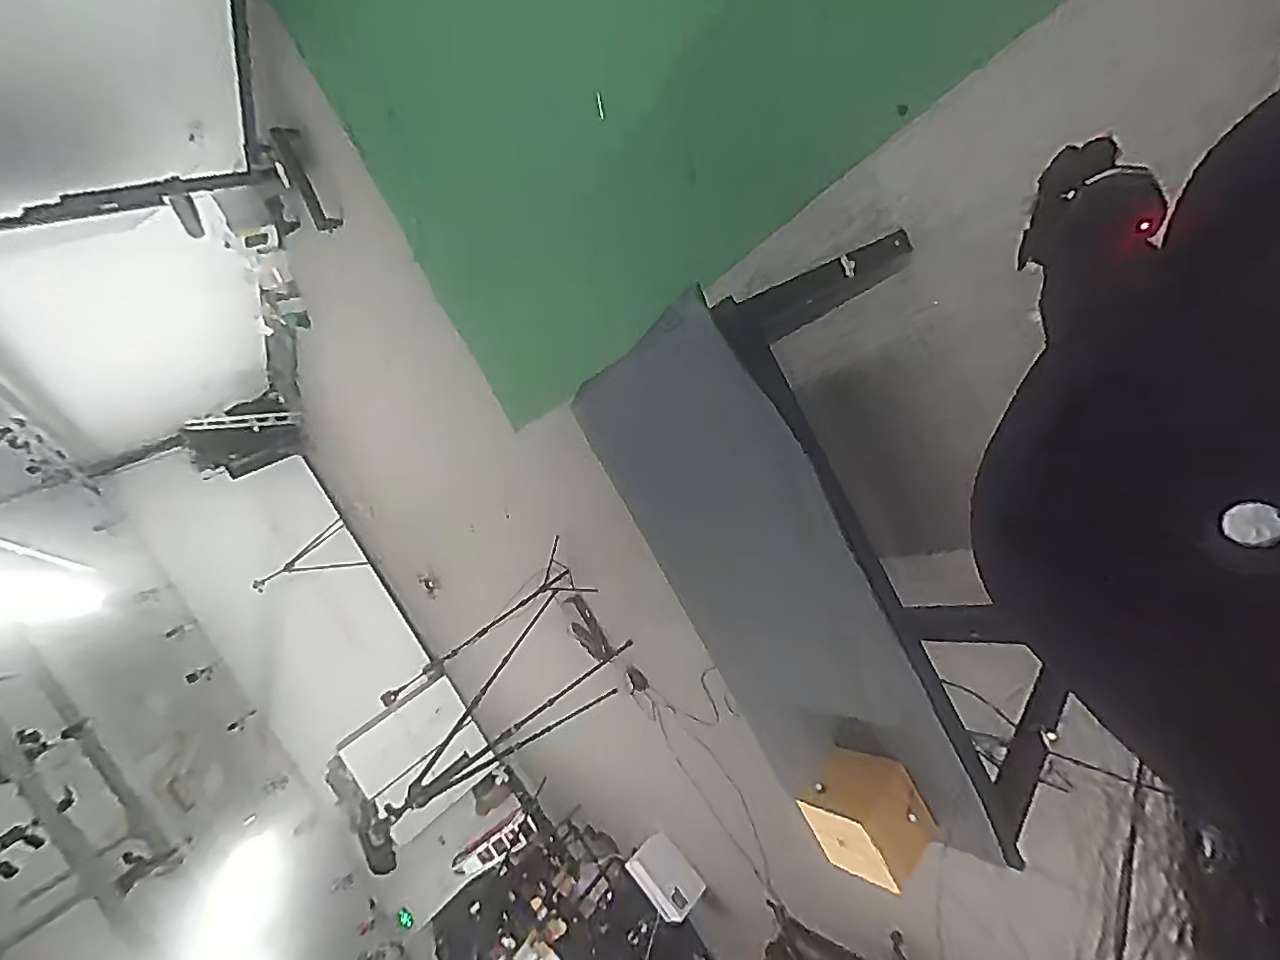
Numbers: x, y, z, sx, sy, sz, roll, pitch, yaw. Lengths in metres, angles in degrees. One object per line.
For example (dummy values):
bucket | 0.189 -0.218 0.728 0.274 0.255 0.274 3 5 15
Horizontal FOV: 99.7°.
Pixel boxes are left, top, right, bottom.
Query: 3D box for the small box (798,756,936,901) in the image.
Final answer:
small box | 0.478 0.717 1.138 0.179 0.176 0.168 -25 95 57
